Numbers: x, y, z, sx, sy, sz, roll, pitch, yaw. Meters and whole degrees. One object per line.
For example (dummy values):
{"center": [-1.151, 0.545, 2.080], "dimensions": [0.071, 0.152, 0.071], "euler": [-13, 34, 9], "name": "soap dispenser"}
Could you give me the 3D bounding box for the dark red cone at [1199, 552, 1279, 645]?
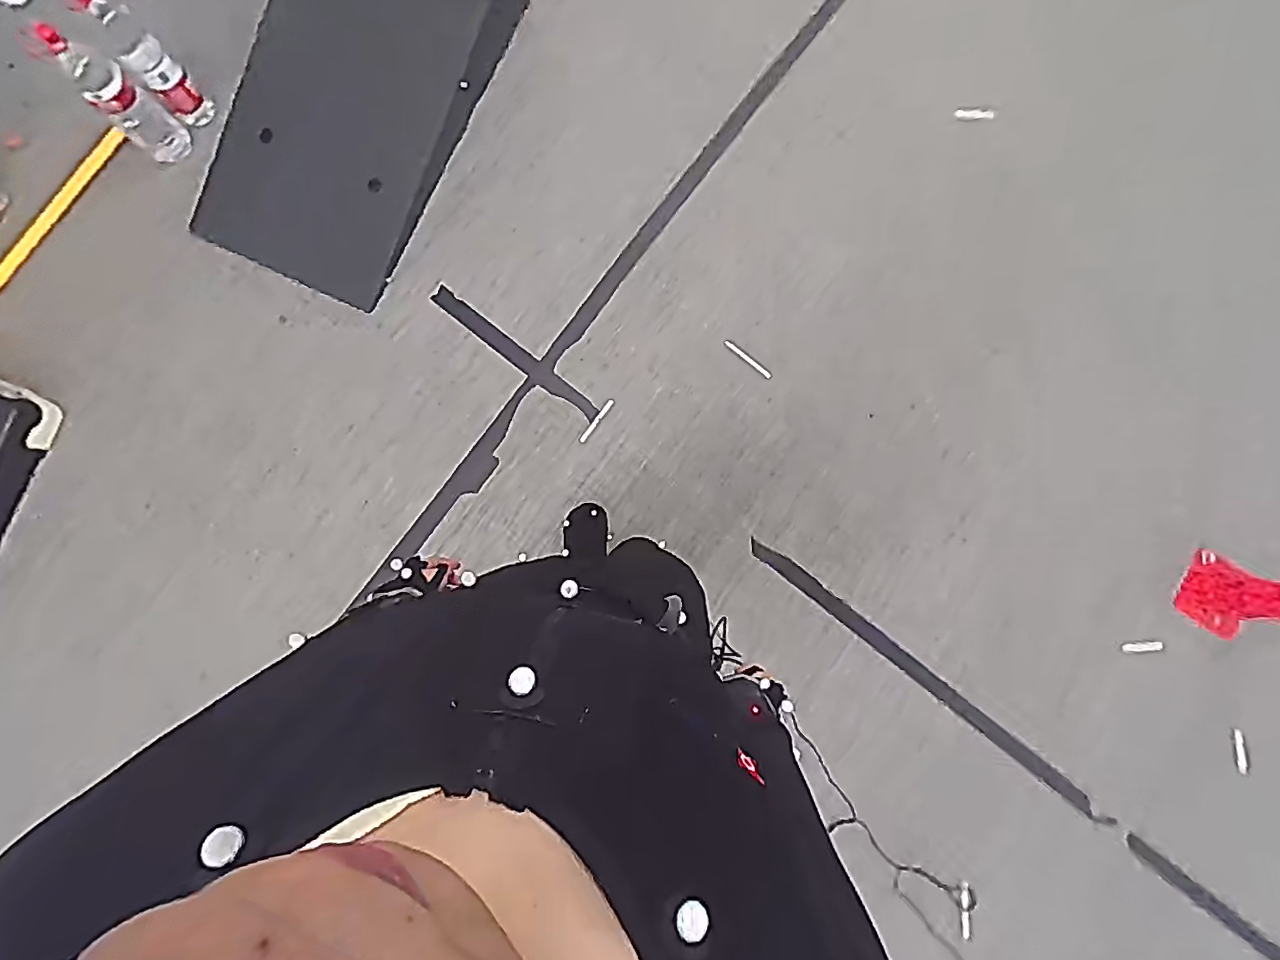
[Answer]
{"center": [1.643, 0.314, 1.305], "dimensions": [0.202, 0.394, 0.201], "euler": [30, 85, -2], "name": "dark red cone"}
